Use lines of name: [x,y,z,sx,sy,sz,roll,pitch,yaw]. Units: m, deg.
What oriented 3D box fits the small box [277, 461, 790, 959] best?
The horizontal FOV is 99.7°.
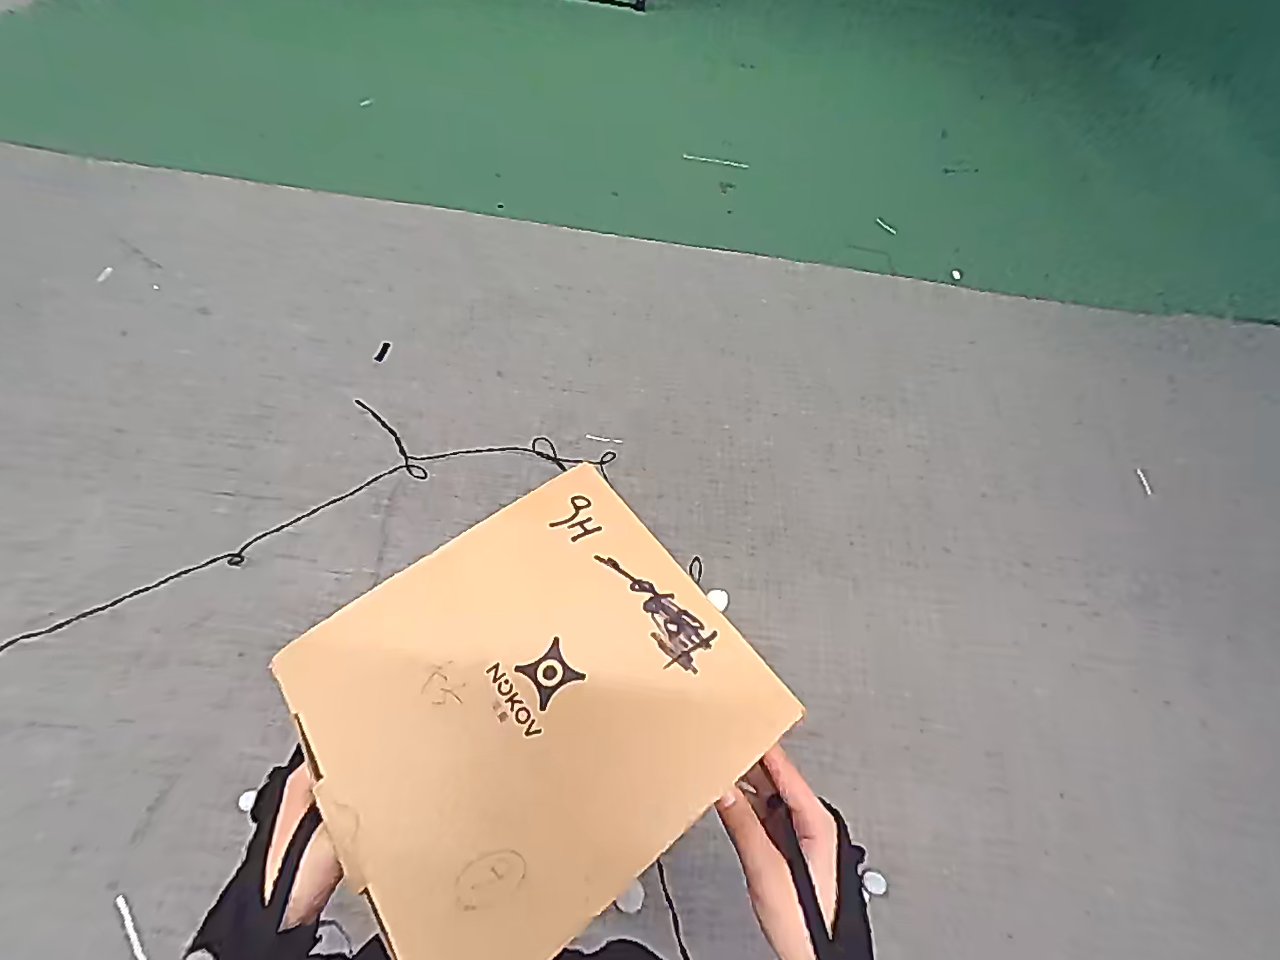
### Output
small box: [-0.048,0.129,0.305,0.179,0.176,0.168,-34,64,-18]
